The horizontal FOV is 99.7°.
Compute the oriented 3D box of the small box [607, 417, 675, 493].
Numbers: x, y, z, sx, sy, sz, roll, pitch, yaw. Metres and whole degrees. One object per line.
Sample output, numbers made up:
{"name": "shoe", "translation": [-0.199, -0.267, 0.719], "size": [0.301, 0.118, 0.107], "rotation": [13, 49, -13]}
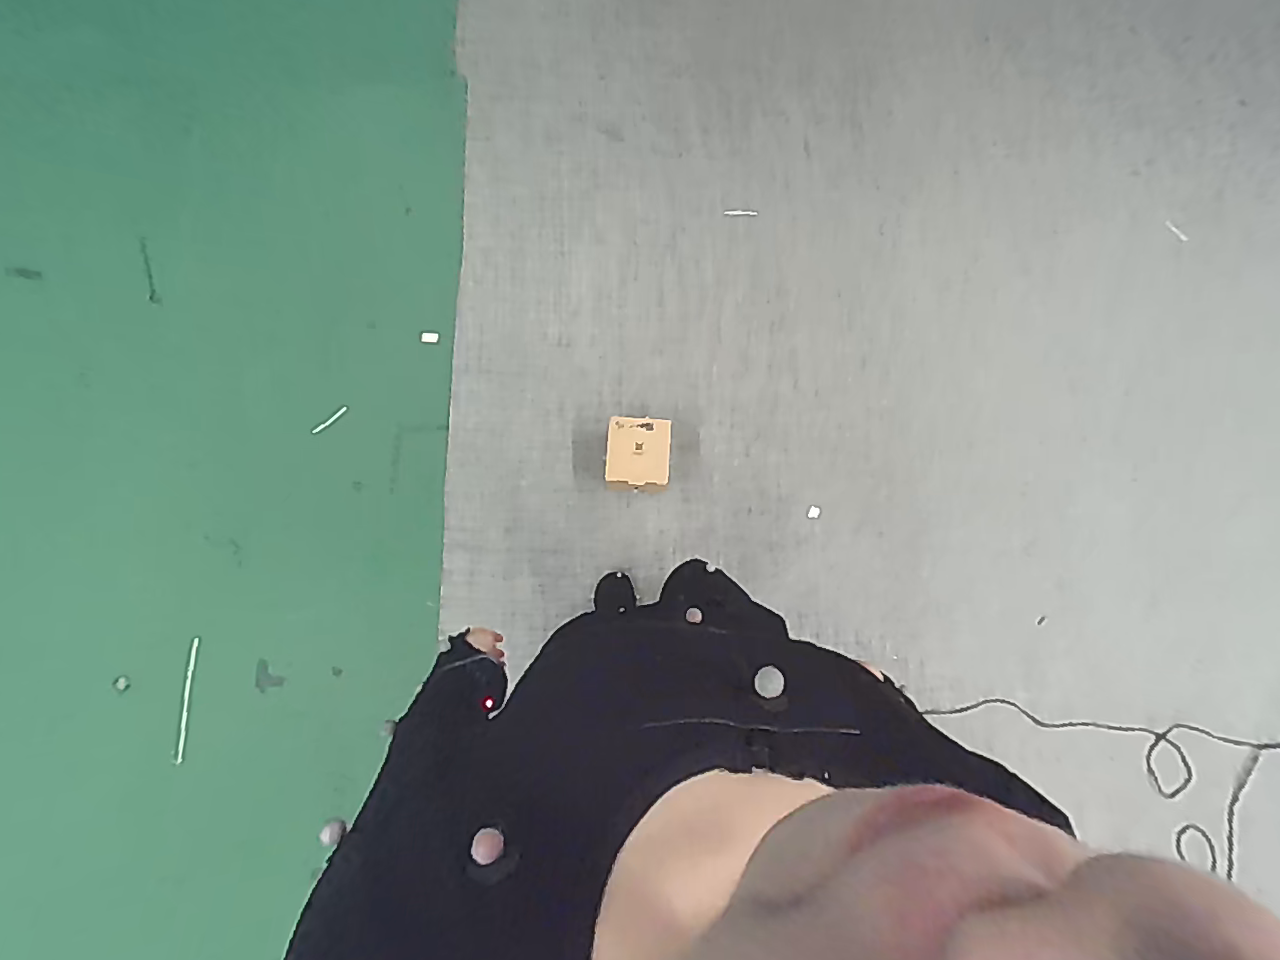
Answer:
{"name": "small box", "translation": [0.004, -0.063, 1.476], "size": [0.168, 0.176, 0.179], "rotation": [4, 81, 0]}
